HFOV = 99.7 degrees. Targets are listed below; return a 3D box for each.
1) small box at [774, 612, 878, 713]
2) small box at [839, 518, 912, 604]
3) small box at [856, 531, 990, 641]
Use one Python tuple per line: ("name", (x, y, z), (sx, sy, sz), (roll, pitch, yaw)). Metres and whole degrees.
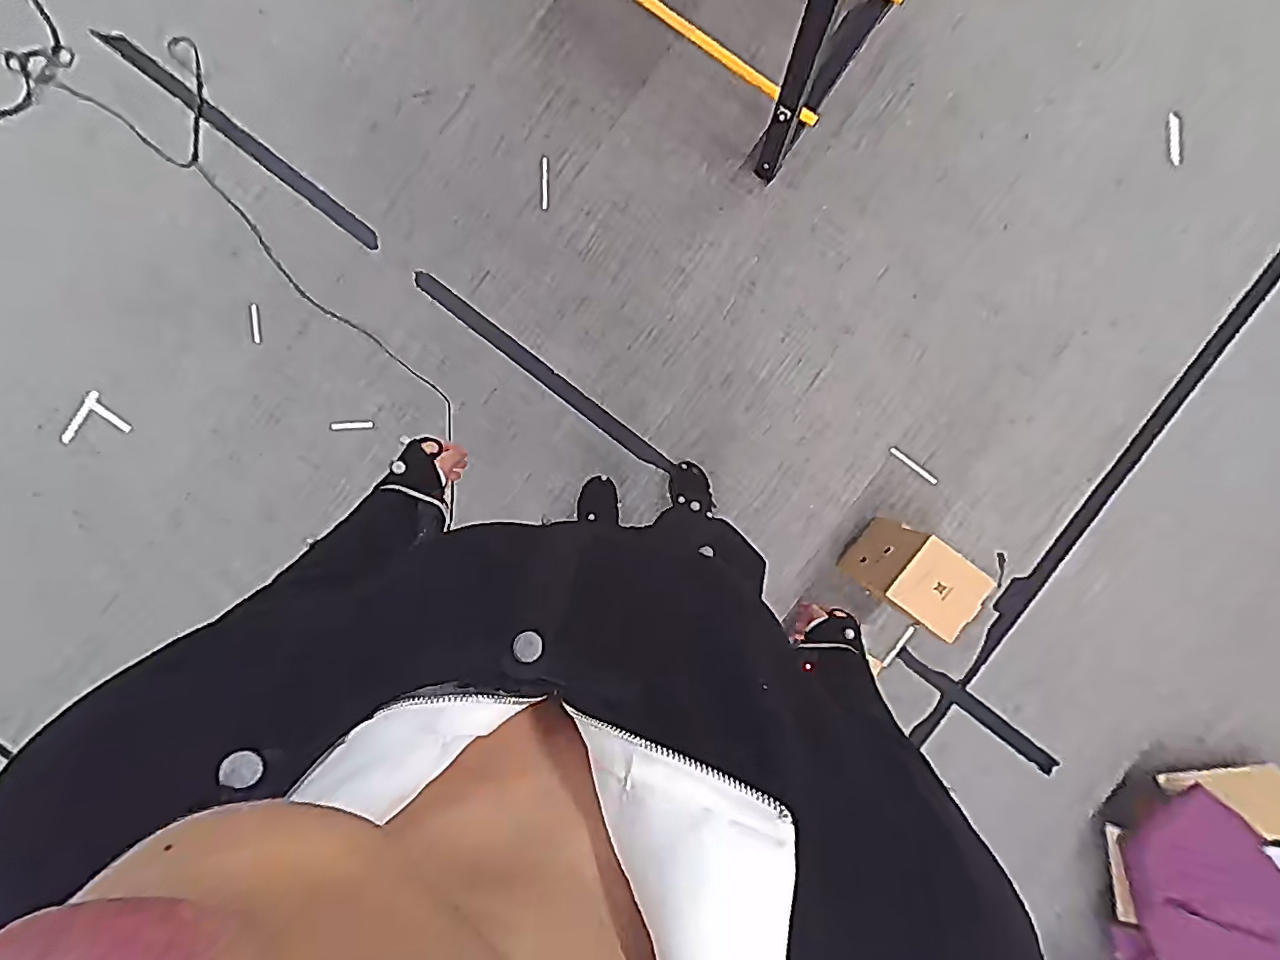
("small box", (0.474, 0.463, 1.411), (0.179, 0.176, 0.168), (34, 92, 2))
("small box", (0.642, 0.218, 1.397), (0.168, 0.176, 0.179), (39, 92, 1))
("small box", (0.635, 0.229, 1.235), (0.179, 0.176, 0.168), (37, 91, 2))
